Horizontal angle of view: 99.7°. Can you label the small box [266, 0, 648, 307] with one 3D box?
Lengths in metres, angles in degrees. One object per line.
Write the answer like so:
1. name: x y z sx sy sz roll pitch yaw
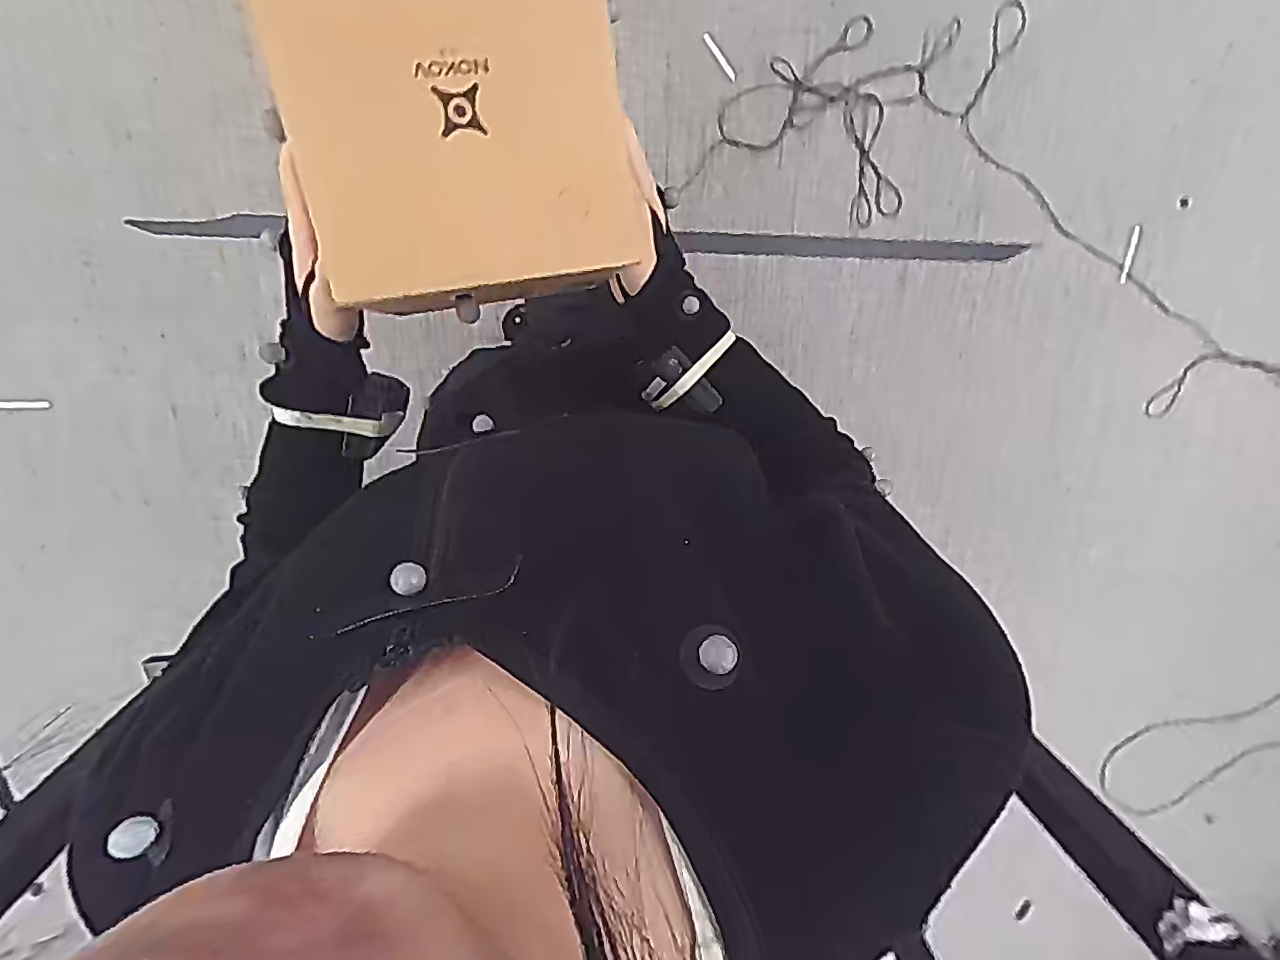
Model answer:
1. small box: -0.101 -0.209 0.343 0.168 0.176 0.179 -11 106 -11
